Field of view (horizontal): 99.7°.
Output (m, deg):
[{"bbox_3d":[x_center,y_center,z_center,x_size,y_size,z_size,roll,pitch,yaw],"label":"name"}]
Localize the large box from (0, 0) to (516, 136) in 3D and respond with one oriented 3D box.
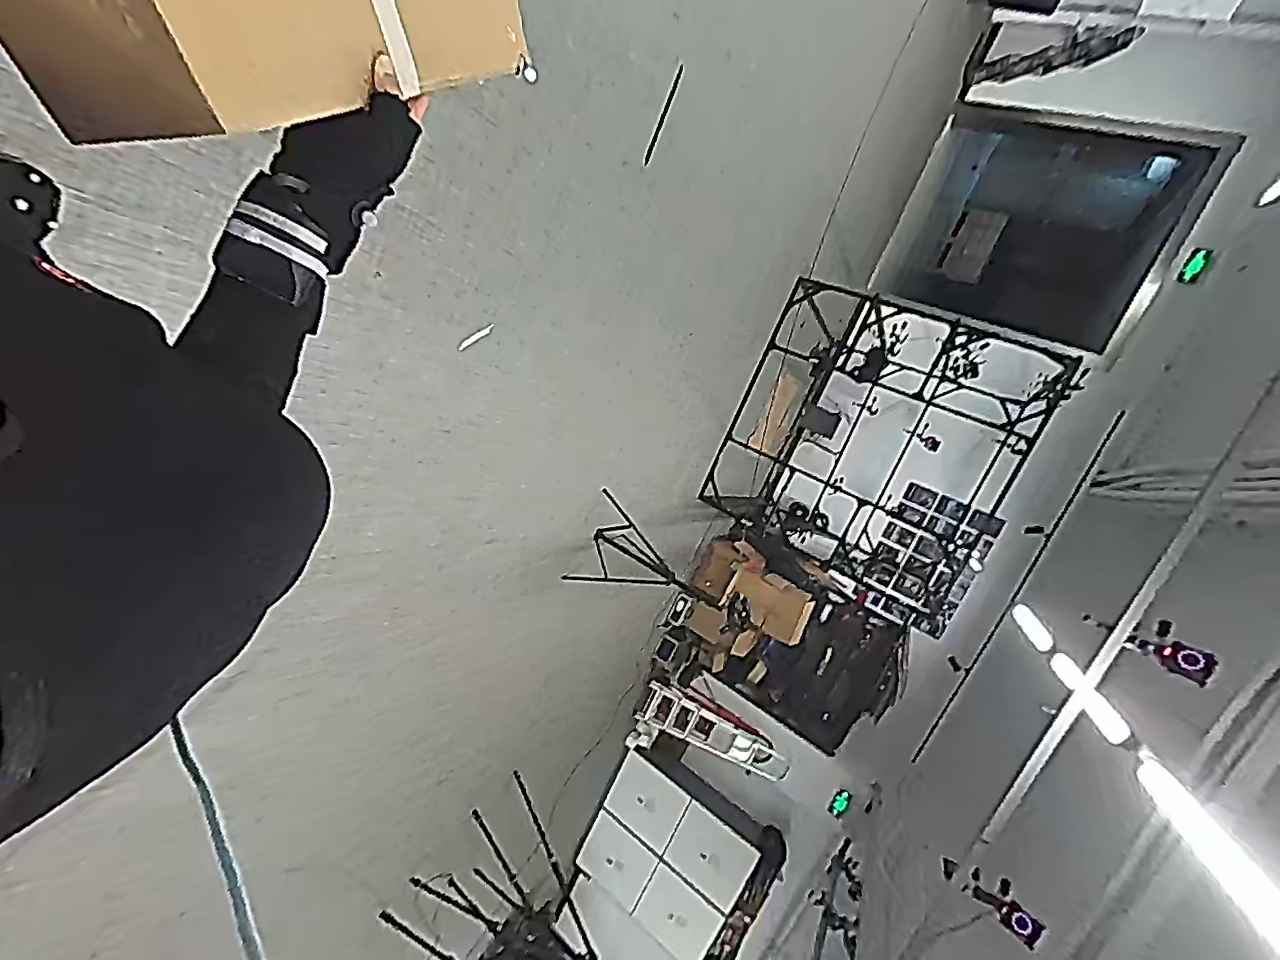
[{"bbox_3d":[-0.356,-0.524,0.399,0.320,0.320,0.408,-48,144,-35],"label":"large box"}]
